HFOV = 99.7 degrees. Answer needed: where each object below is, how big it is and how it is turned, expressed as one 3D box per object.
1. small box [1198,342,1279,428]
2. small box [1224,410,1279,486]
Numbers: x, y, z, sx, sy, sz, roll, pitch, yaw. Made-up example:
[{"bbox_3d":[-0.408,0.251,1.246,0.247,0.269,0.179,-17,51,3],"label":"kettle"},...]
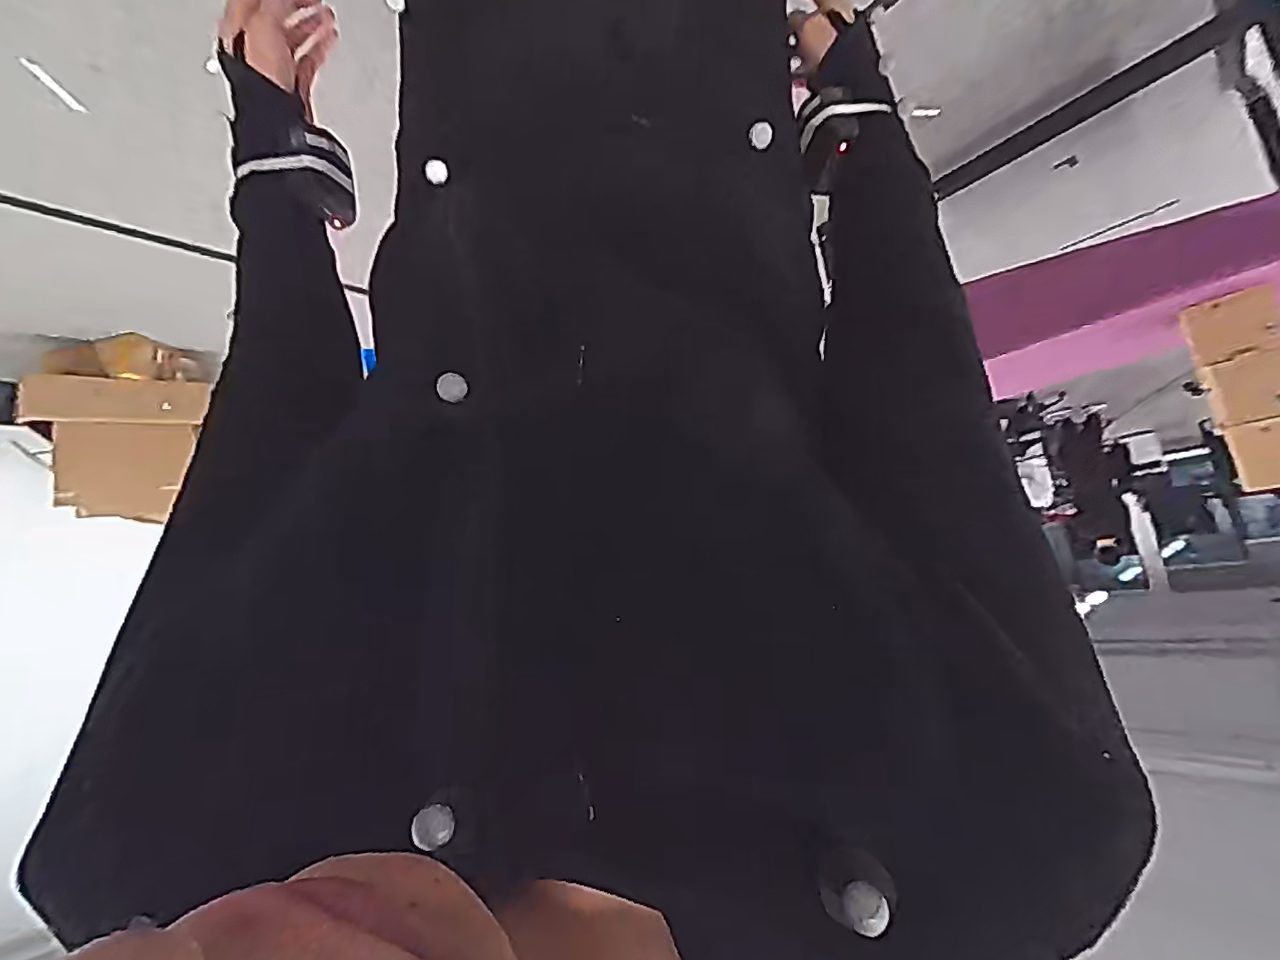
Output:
[{"bbox_3d":[1.592,-0.246,1.388,0.179,0.176,0.168,-15,167,38],"label":"small box"},{"bbox_3d":[1.609,-0.088,1.356,0.179,0.176,0.168,1,166,-44],"label":"small box"}]
